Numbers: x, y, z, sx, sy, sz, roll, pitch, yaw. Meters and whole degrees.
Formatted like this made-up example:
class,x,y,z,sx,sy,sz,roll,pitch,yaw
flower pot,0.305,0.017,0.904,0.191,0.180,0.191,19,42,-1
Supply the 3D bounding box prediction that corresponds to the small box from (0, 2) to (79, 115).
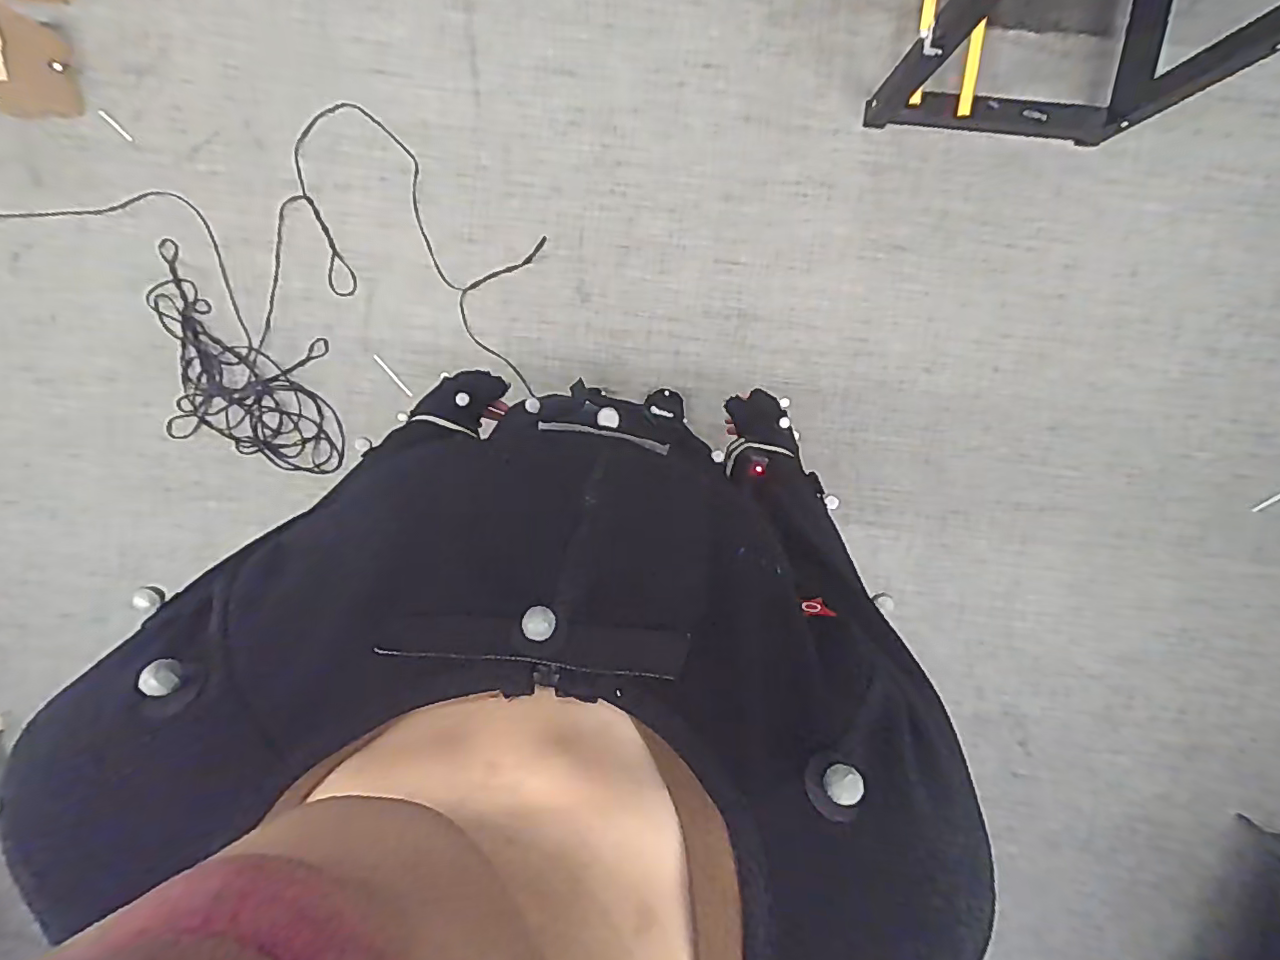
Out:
class,x,y,z,sx,sy,sz,roll,pitch,yaw
small box,-1.466,-0.964,1.239,0.179,0.176,0.168,-2,102,1
